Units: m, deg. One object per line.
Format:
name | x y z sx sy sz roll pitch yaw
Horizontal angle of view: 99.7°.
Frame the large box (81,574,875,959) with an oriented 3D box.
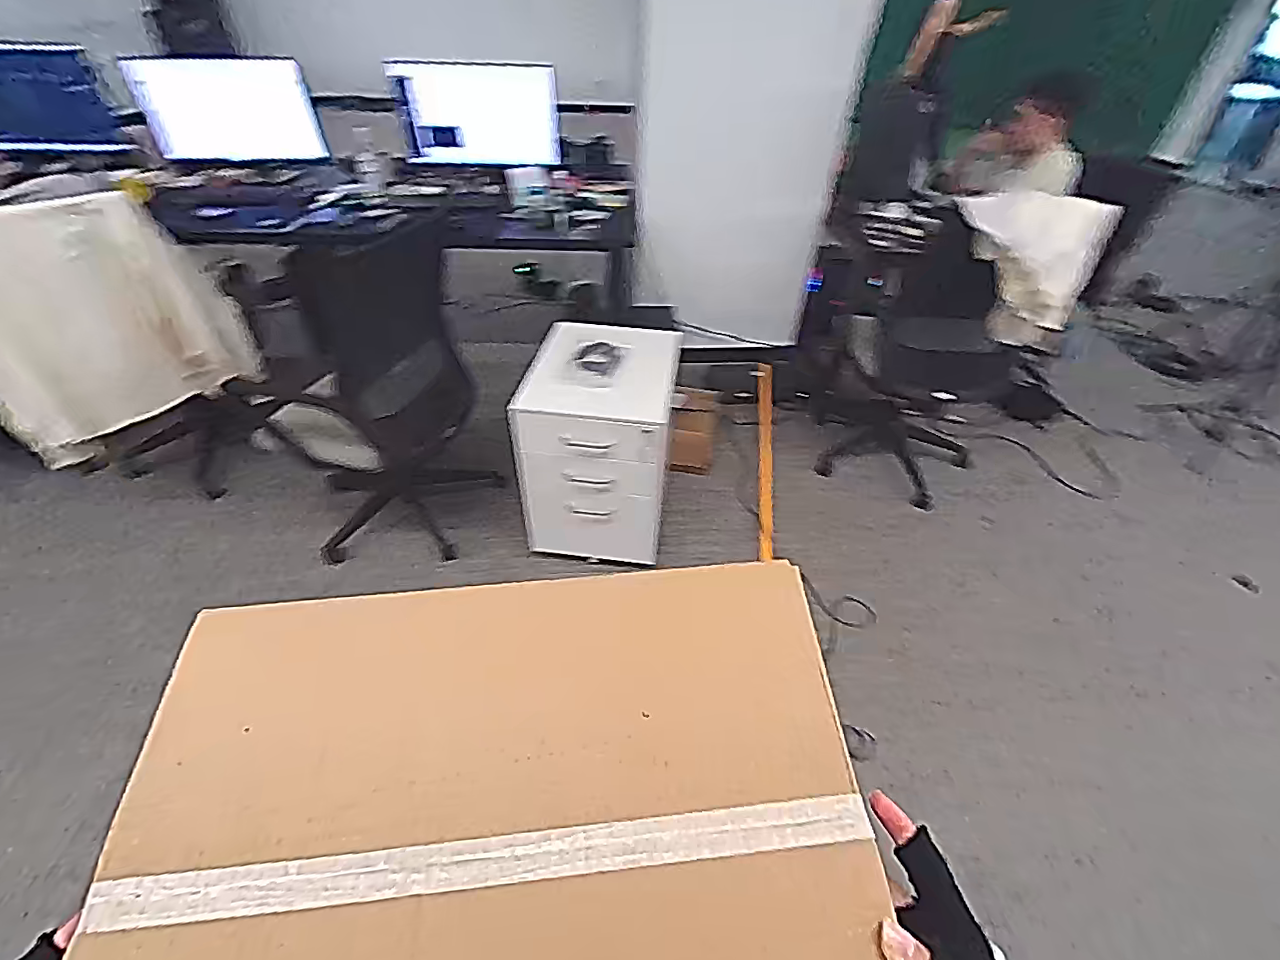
large box | -0.084 0.295 0.416 0.408 0.320 0.320 -5 55 -4
